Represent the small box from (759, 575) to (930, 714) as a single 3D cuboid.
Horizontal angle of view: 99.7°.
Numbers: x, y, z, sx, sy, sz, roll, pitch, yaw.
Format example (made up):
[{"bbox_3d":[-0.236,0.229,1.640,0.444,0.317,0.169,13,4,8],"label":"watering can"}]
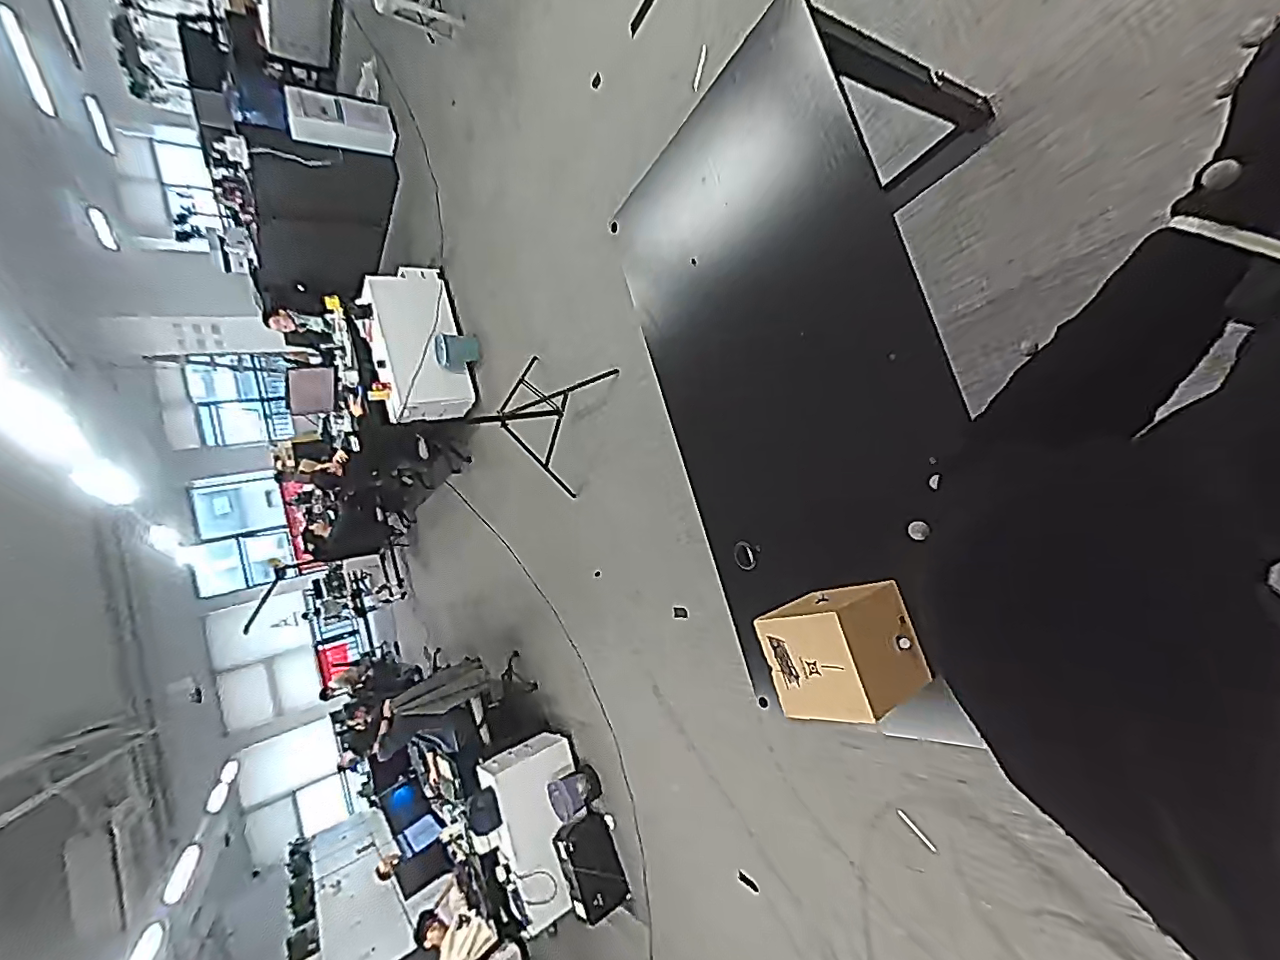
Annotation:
[{"bbox_3d":[0.335,0.266,0.894,0.179,0.176,0.168,-29,77,54],"label":"small box"}]
